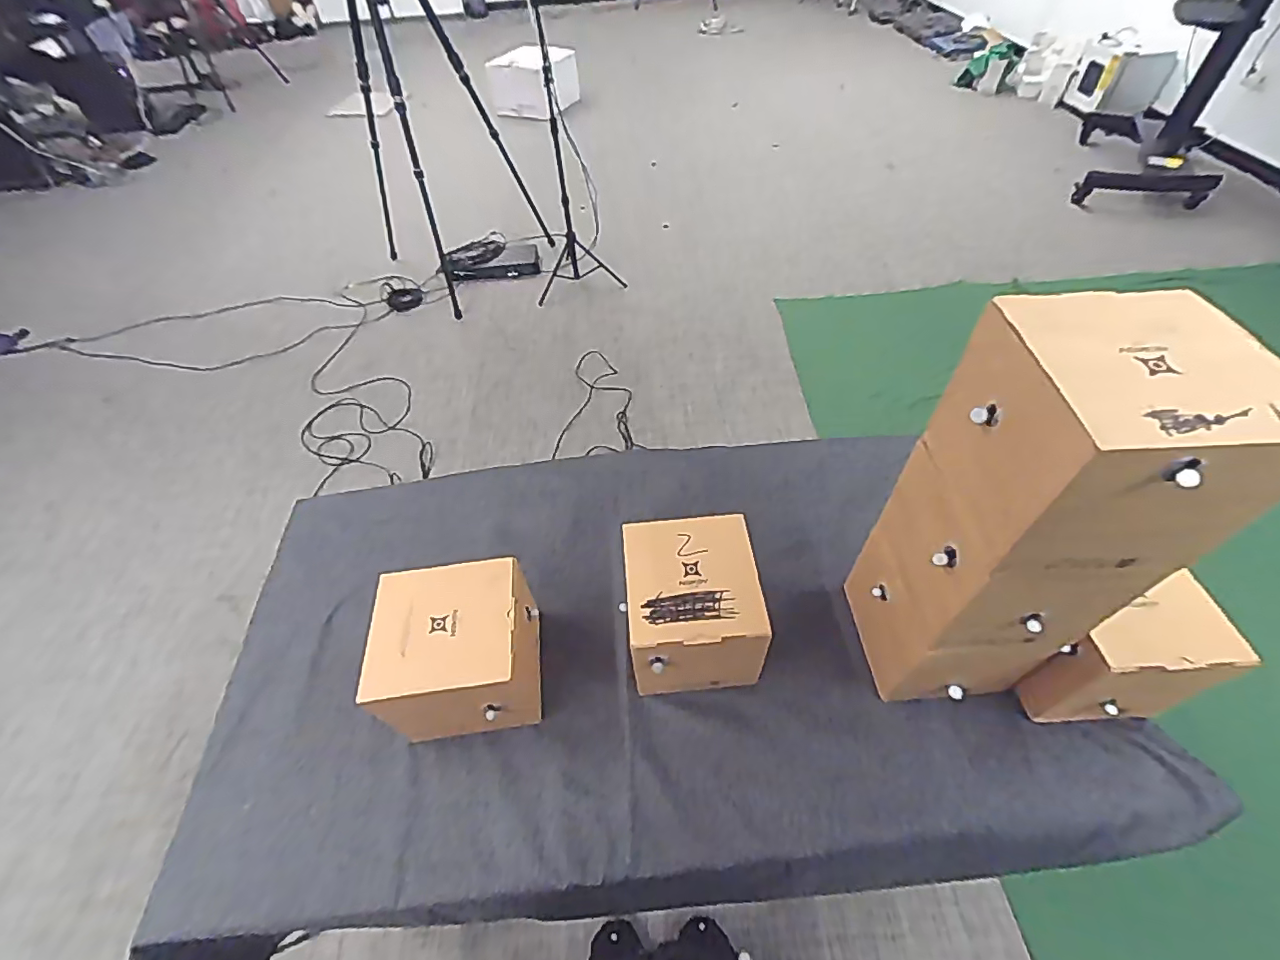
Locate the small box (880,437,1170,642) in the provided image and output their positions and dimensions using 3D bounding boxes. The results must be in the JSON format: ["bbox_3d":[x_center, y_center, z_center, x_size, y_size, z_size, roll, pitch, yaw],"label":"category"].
[{"bbox_3d":[0.389,0.067,0.590,0.168,0.176,0.179,-3,50,1],"label":"small box"}]

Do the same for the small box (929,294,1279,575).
[{"bbox_3d":[0.379,-0.036,0.463,0.168,0.176,0.179,-2,50,3],"label":"small box"}]
